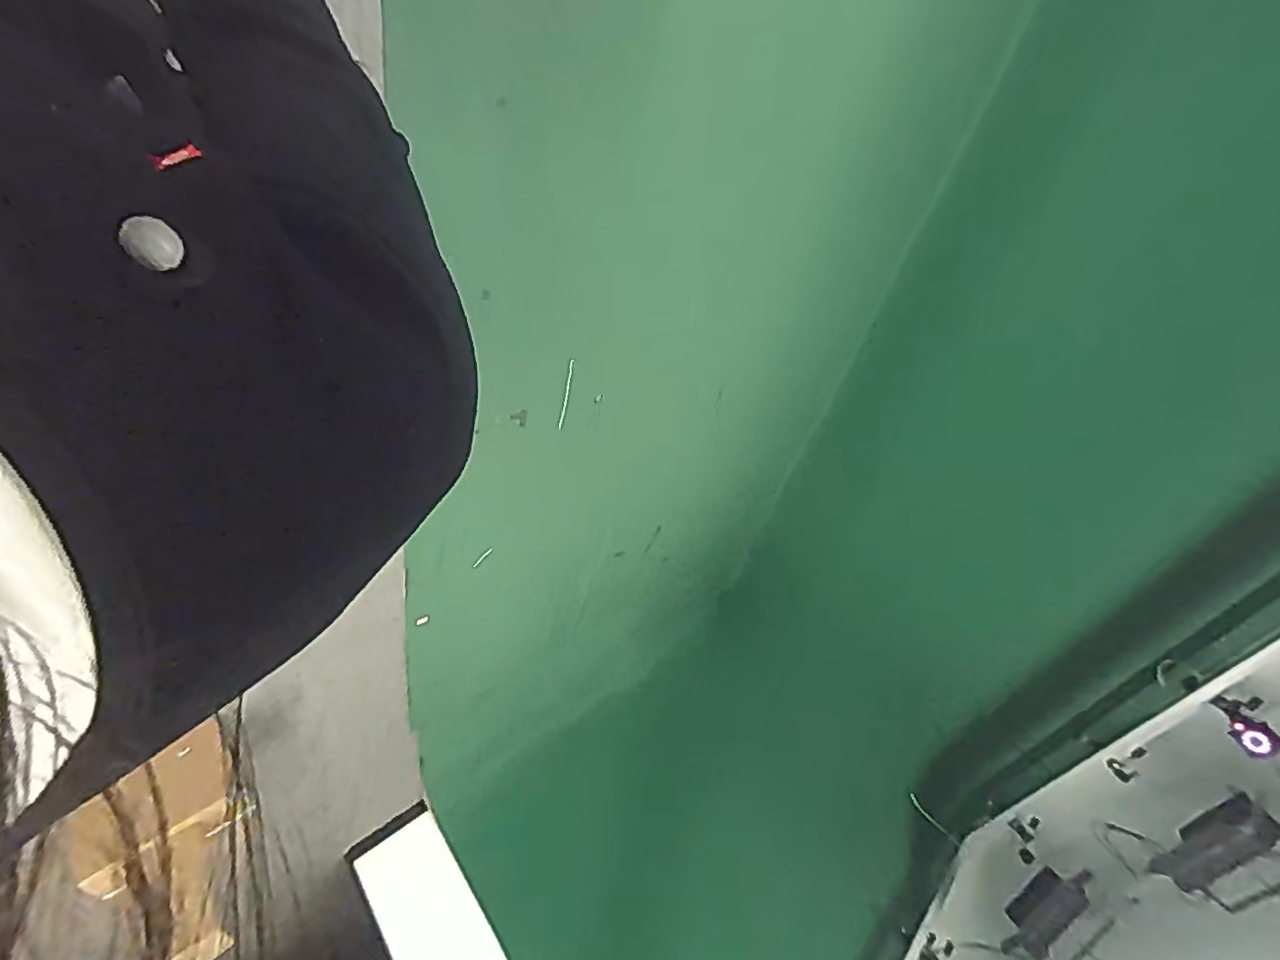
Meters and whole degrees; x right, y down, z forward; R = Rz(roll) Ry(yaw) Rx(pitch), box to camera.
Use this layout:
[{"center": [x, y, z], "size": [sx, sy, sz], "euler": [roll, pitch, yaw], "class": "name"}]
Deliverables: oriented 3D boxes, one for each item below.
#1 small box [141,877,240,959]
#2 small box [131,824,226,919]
[{"center": [-1.303, 1.304, 1.569], "size": [0.168, 0.176, 0.179], "euler": [-24, 141, -37], "class": "small box"}, {"center": [-1.407, 1.204, 1.646], "size": [0.179, 0.176, 0.168], "euler": [-24, 142, -39], "class": "small box"}]
